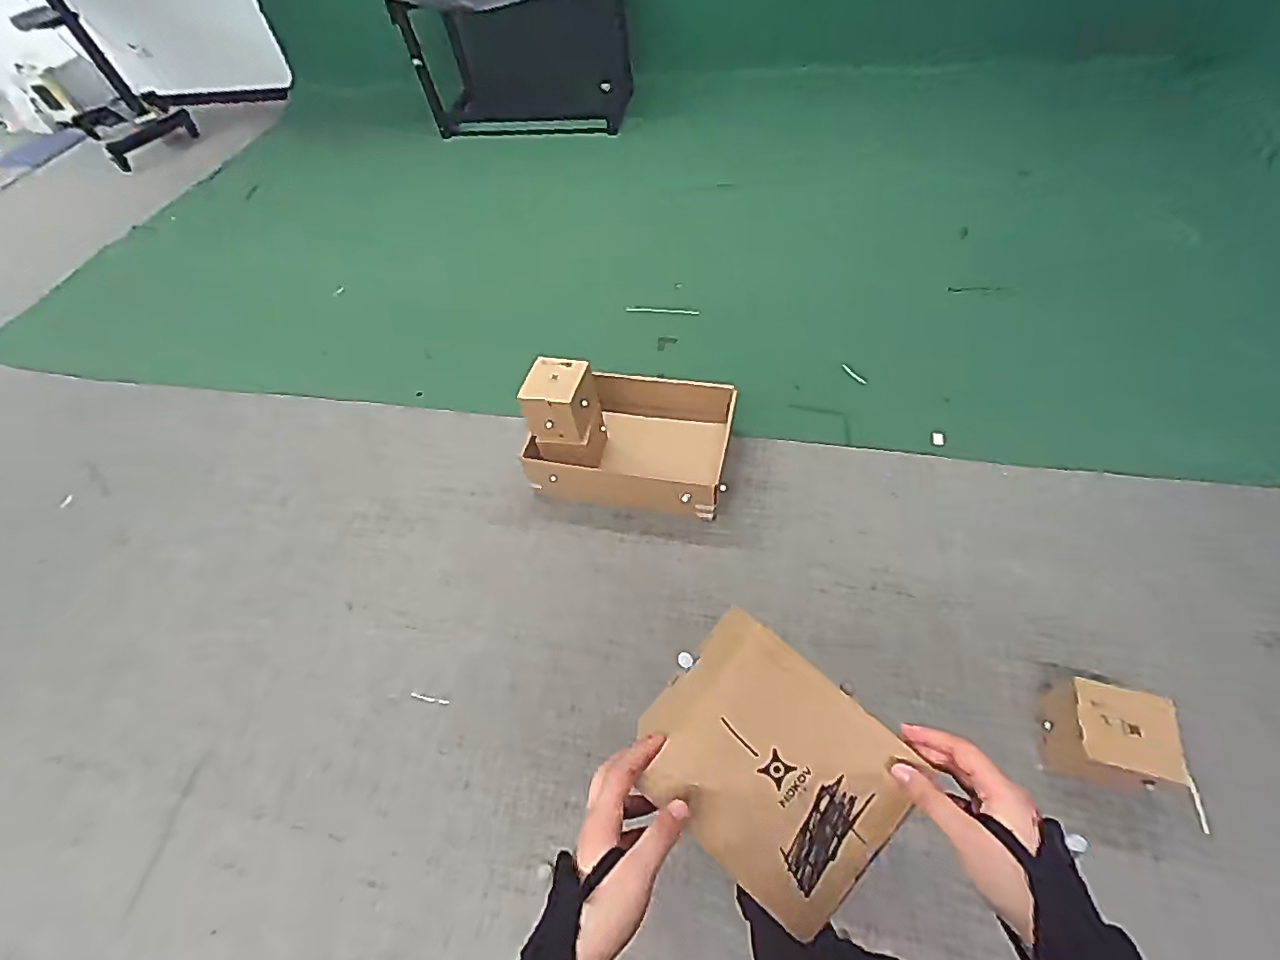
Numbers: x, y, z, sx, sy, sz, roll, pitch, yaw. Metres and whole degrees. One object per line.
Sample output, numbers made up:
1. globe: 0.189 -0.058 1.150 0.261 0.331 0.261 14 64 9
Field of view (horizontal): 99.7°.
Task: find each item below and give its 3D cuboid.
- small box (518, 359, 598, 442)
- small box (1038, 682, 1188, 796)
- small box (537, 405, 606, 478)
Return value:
1. small box: -0.236 -0.234 1.610 0.168 0.176 0.179 9 57 14
2. small box: 0.990 0.556 1.151 0.179 0.176 0.168 11 56 15
3. small box: -0.211 -0.129 1.734 0.168 0.176 0.179 5 57 11
